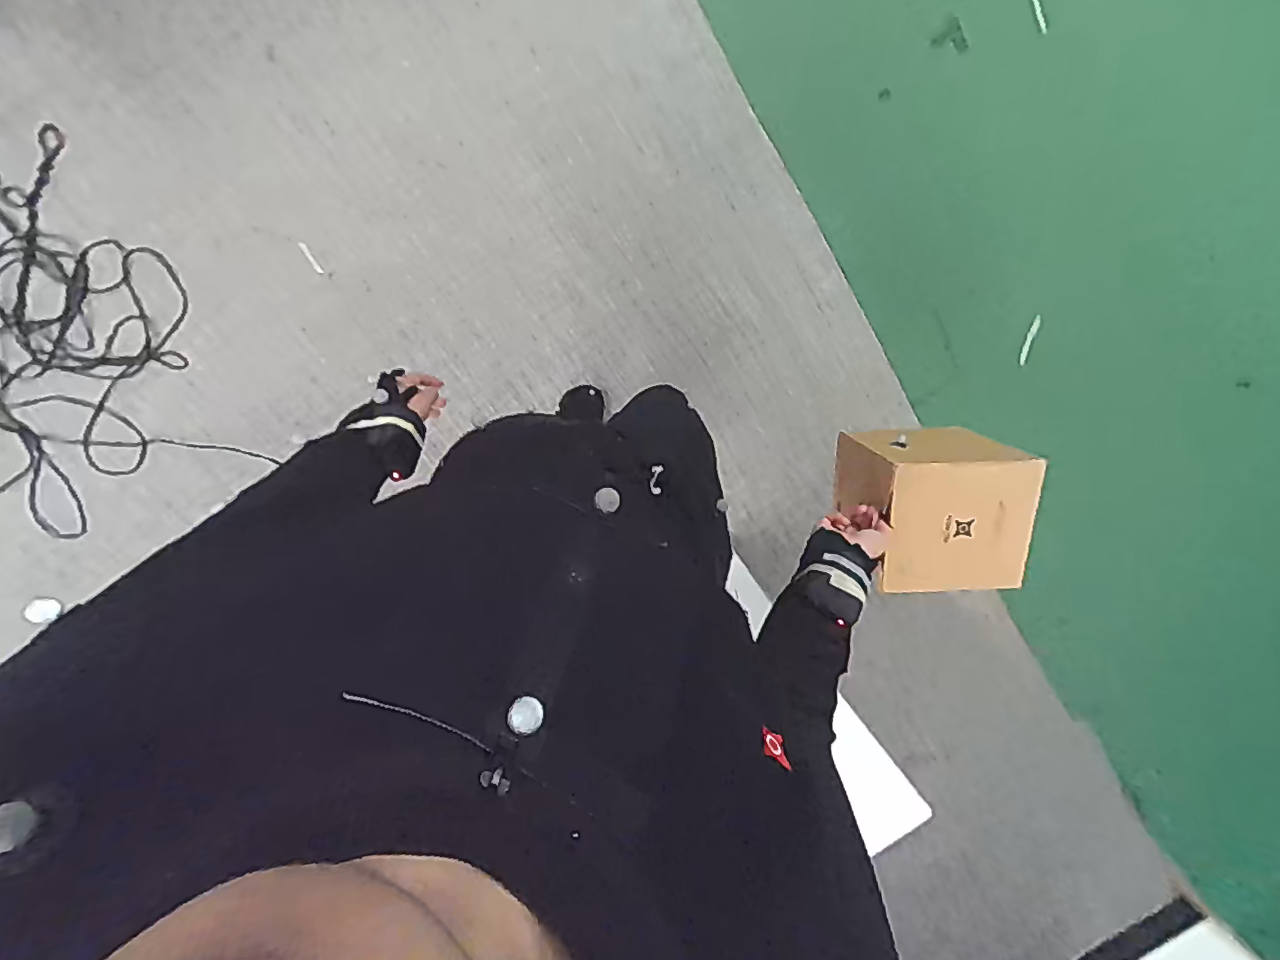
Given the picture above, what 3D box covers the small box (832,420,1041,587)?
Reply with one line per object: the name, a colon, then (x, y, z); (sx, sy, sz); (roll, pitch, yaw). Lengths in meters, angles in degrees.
small box: (0.367, 0.022, 0.707); (0.179, 0.176, 0.168); (-5, 109, -3)
